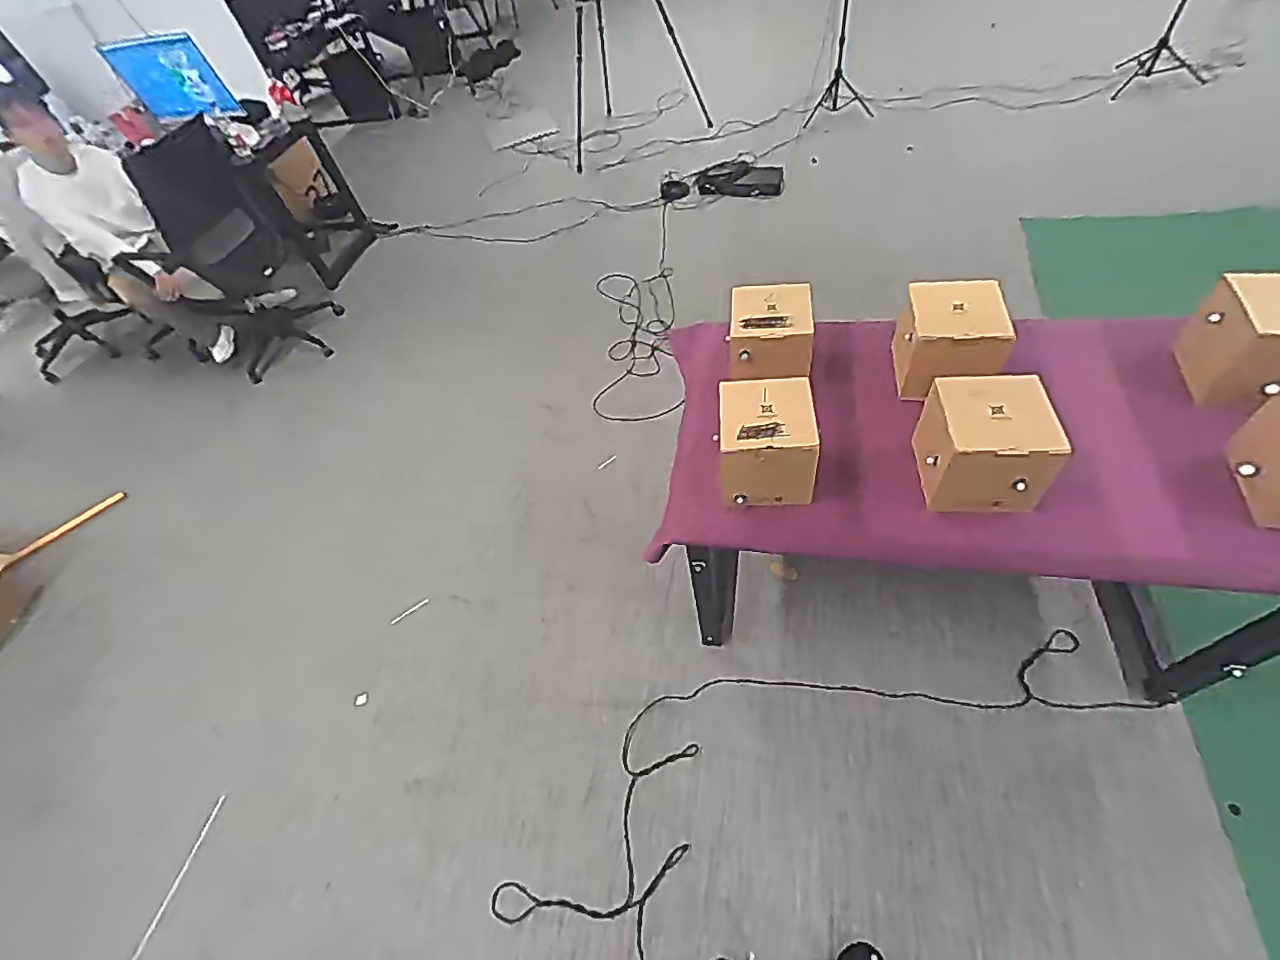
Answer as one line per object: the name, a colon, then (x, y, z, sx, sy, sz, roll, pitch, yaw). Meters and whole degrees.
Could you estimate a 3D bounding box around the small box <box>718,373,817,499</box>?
small box: (0.235, -0.076, 1.017, 0.168, 0.176, 0.179, -2, 52, 10)

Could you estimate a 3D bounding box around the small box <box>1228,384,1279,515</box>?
small box: (1.069, -0.044, 0.818, 0.168, 0.176, 0.179, 7, 54, 17)

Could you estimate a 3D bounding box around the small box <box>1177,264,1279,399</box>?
small box: (1.131, -0.265, 0.973, 0.168, 0.176, 0.179, 6, 56, 17)

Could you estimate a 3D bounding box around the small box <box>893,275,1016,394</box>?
small box: (0.627, -0.294, 1.103, 0.168, 0.176, 0.179, 2, 55, 13)

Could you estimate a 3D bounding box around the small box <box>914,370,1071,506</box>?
small box: (0.595, -0.069, 0.940, 0.168, 0.176, 0.179, 1, 52, 12)
